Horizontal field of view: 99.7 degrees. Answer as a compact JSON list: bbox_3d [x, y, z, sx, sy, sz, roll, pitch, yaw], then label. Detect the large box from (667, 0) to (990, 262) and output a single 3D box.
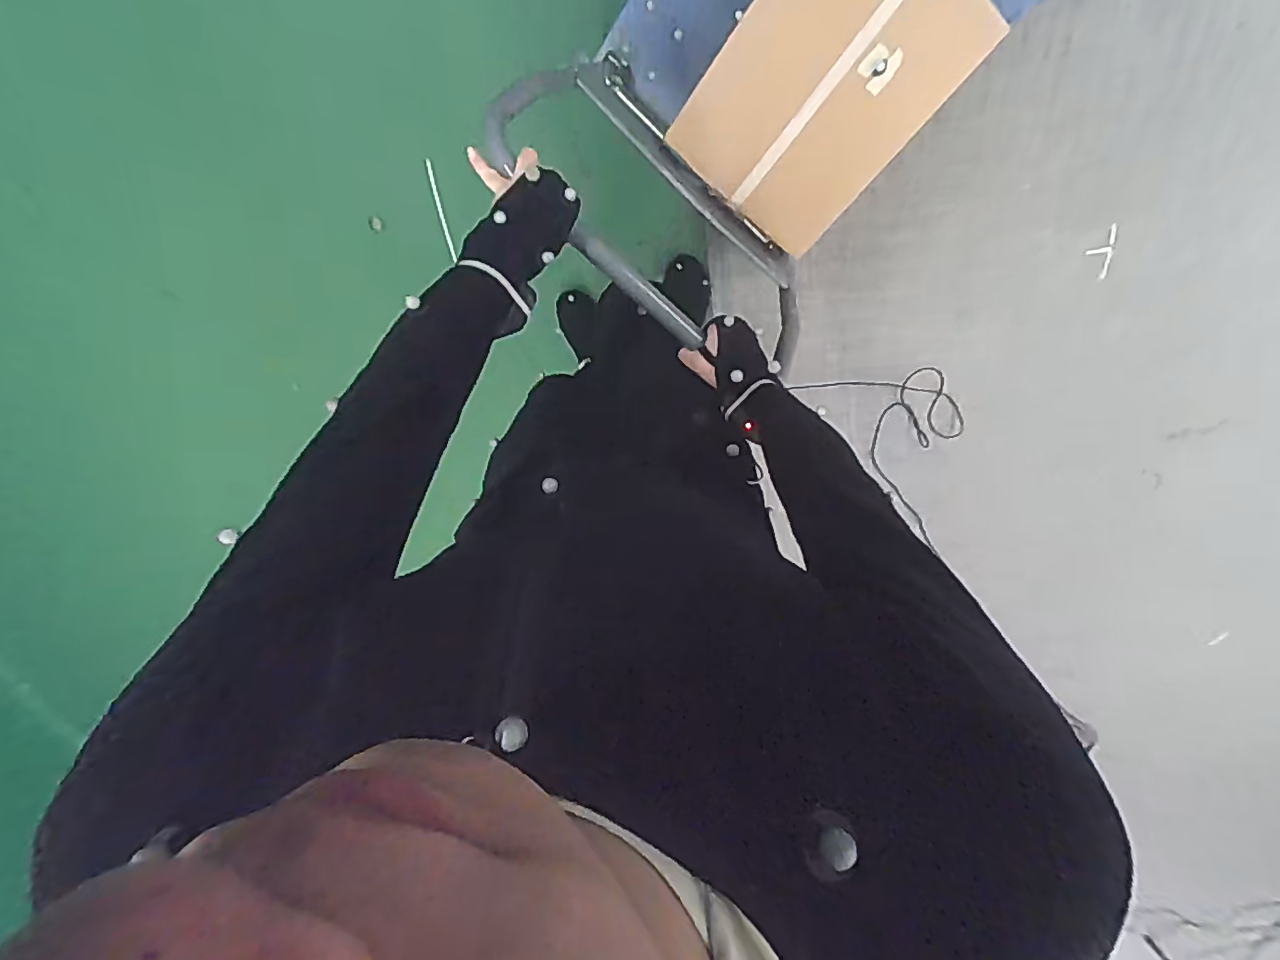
[{"bbox_3d":[0.297,-0.683,0.972,0.320,0.320,0.408,35,123,-16],"label":"large box"}]
